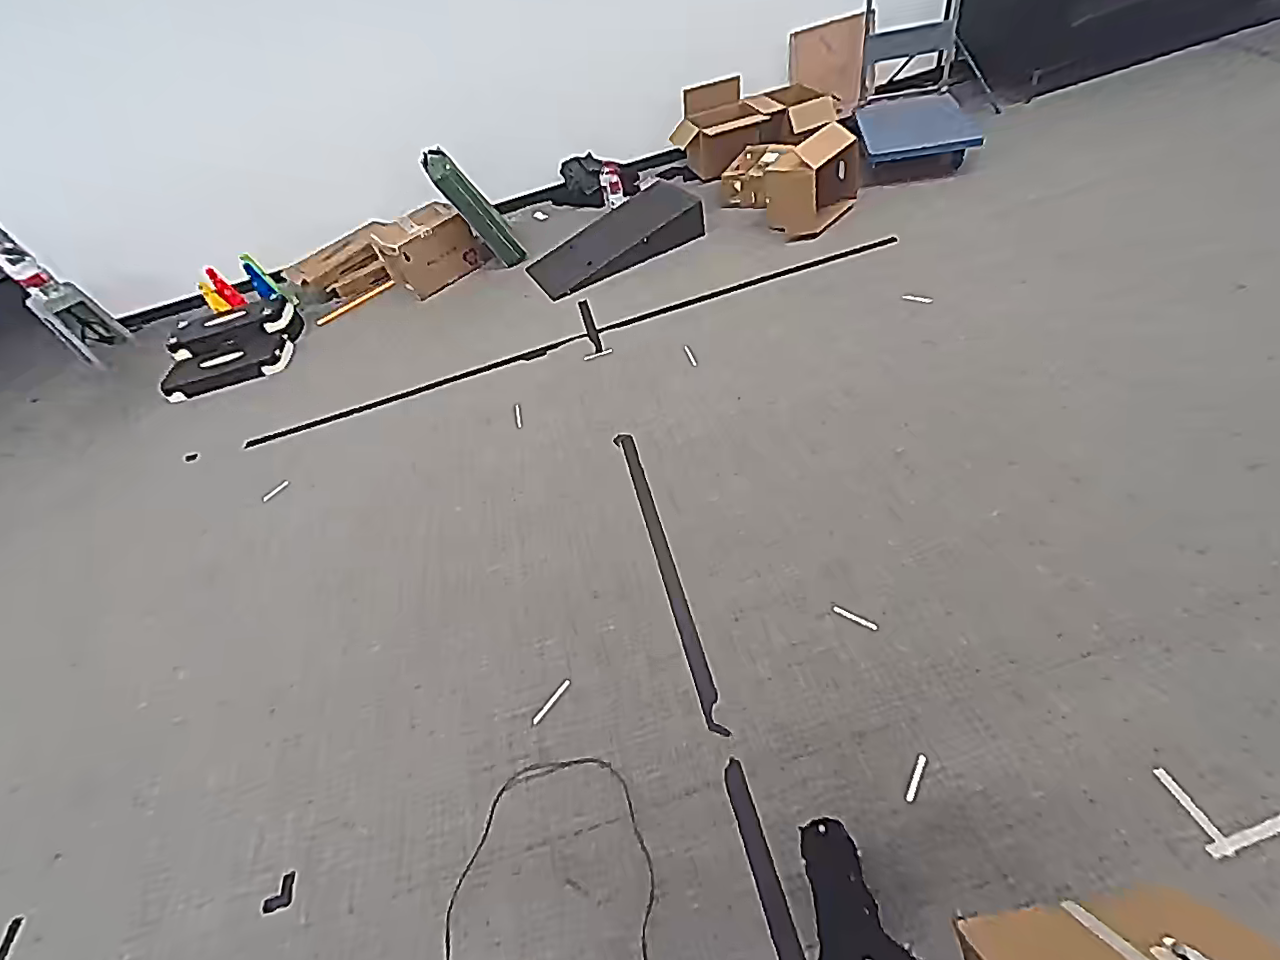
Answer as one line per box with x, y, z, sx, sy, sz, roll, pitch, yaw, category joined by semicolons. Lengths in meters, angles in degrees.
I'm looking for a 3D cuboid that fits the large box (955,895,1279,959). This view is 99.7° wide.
0.611;0.710;0.539;0.320;0.408;0.320;-9;76;2;large box
